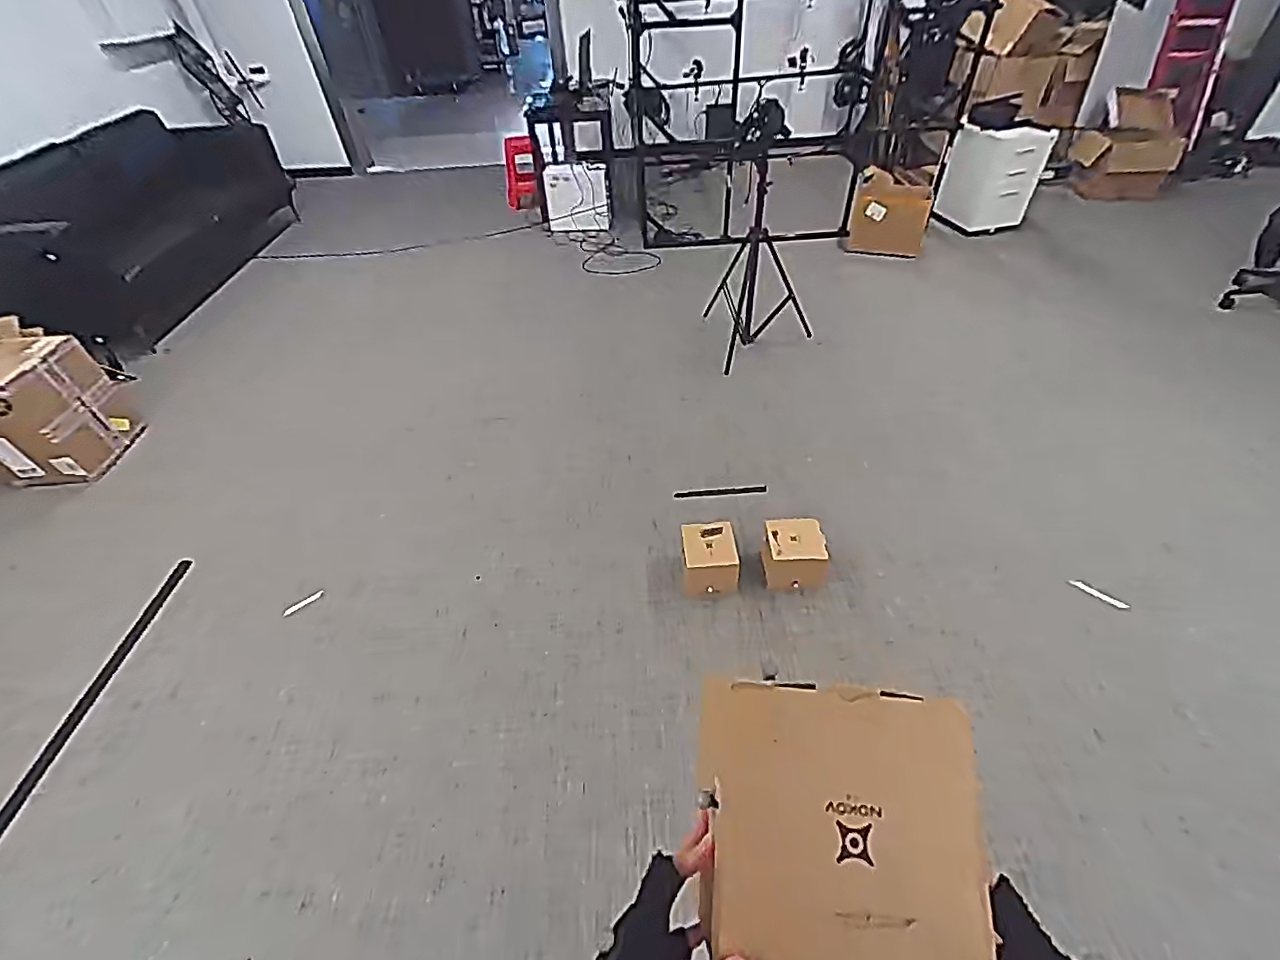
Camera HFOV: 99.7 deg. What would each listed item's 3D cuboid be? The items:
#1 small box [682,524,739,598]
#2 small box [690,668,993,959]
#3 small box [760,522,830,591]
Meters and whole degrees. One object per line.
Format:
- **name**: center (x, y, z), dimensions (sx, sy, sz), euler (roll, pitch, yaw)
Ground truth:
- **small box**: center (0.227, 0.269, 1.783), dimensions (0.168, 0.176, 0.179), euler (-4, 45, 0)
- **small box**: center (0.132, 0.247, 0.417), dimensions (0.168, 0.176, 0.179), euler (6, 70, 1)
- **small box**: center (0.503, 0.254, 1.780), dimensions (0.179, 0.176, 0.168), euler (-1, 45, 2)
